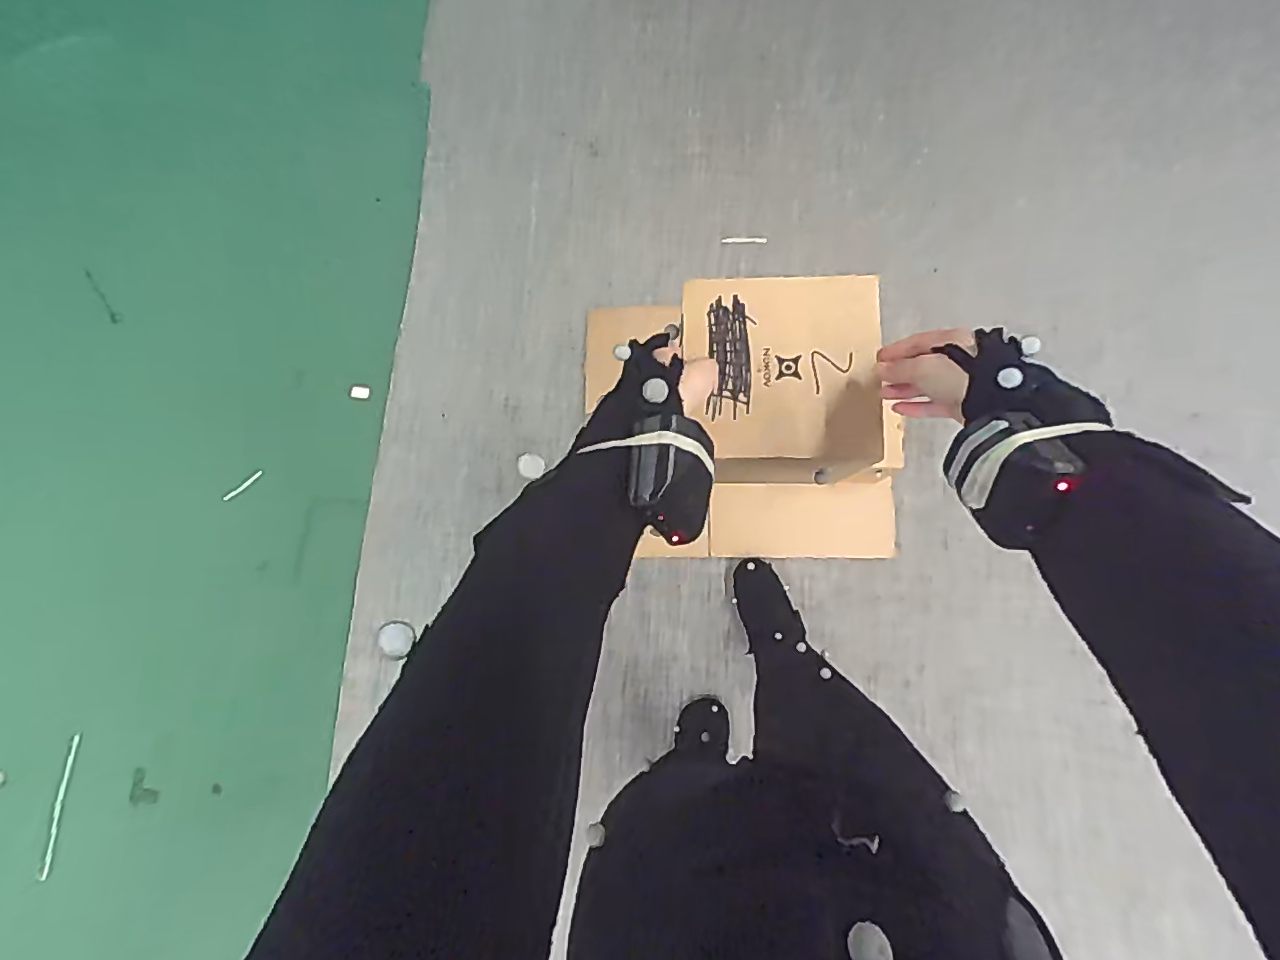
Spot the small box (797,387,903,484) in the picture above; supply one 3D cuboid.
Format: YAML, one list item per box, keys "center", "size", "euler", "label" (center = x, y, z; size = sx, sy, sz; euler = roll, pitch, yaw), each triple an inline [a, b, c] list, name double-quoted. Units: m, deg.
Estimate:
- center: [0.430, -0.088, 1.135]
  size: [0.179, 0.176, 0.168]
  euler: [2, 79, 5]
  label: "small box"
